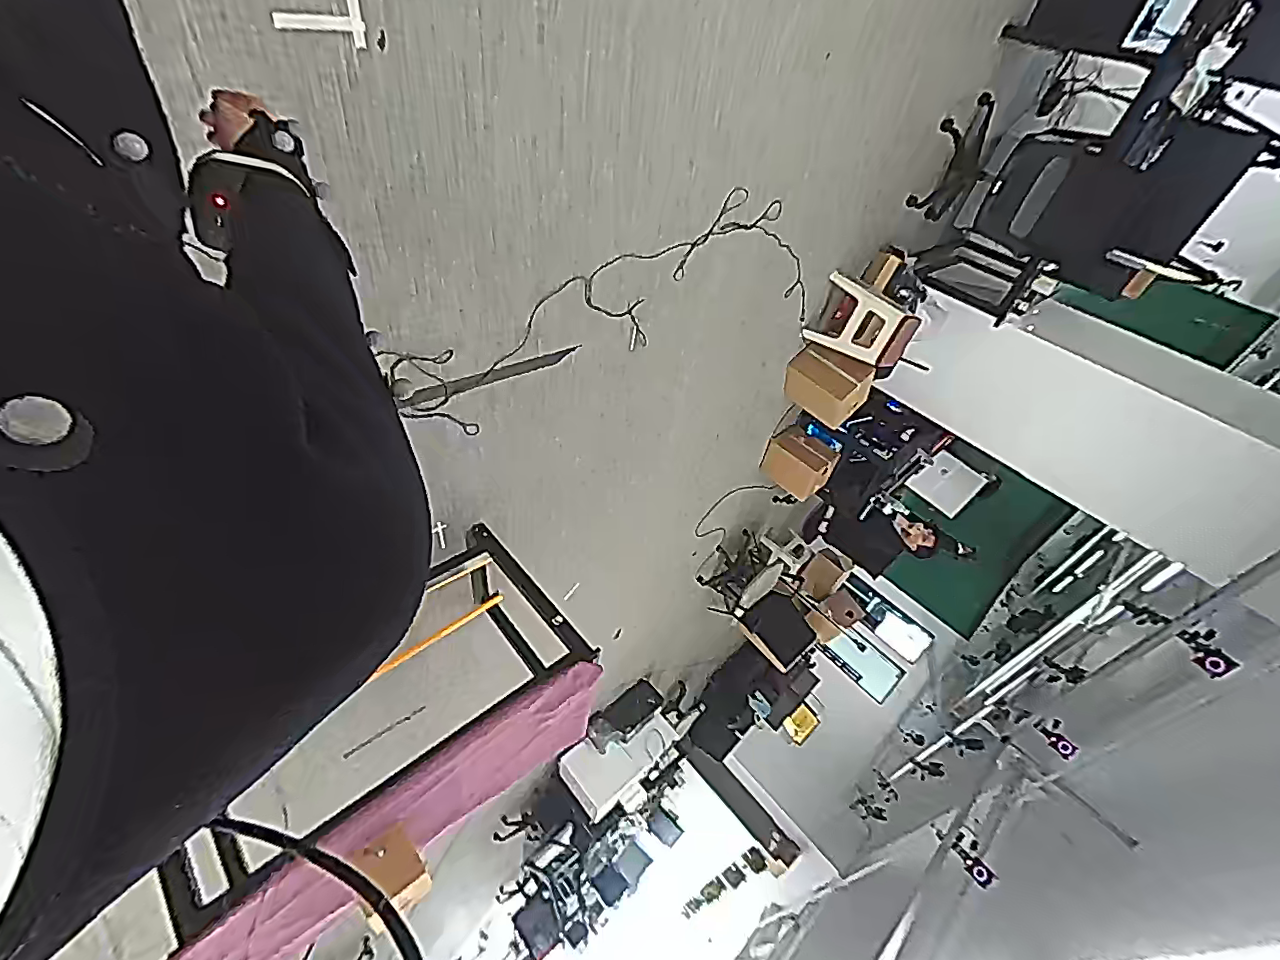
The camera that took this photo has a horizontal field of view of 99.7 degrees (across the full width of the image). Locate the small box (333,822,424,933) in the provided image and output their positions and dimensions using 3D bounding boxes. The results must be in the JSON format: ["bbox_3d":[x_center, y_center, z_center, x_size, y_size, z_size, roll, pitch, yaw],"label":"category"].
[{"bbox_3d":[-0.724,1.098,1.503,0.168,0.176,0.179,-27,145,-37],"label":"small box"}]
